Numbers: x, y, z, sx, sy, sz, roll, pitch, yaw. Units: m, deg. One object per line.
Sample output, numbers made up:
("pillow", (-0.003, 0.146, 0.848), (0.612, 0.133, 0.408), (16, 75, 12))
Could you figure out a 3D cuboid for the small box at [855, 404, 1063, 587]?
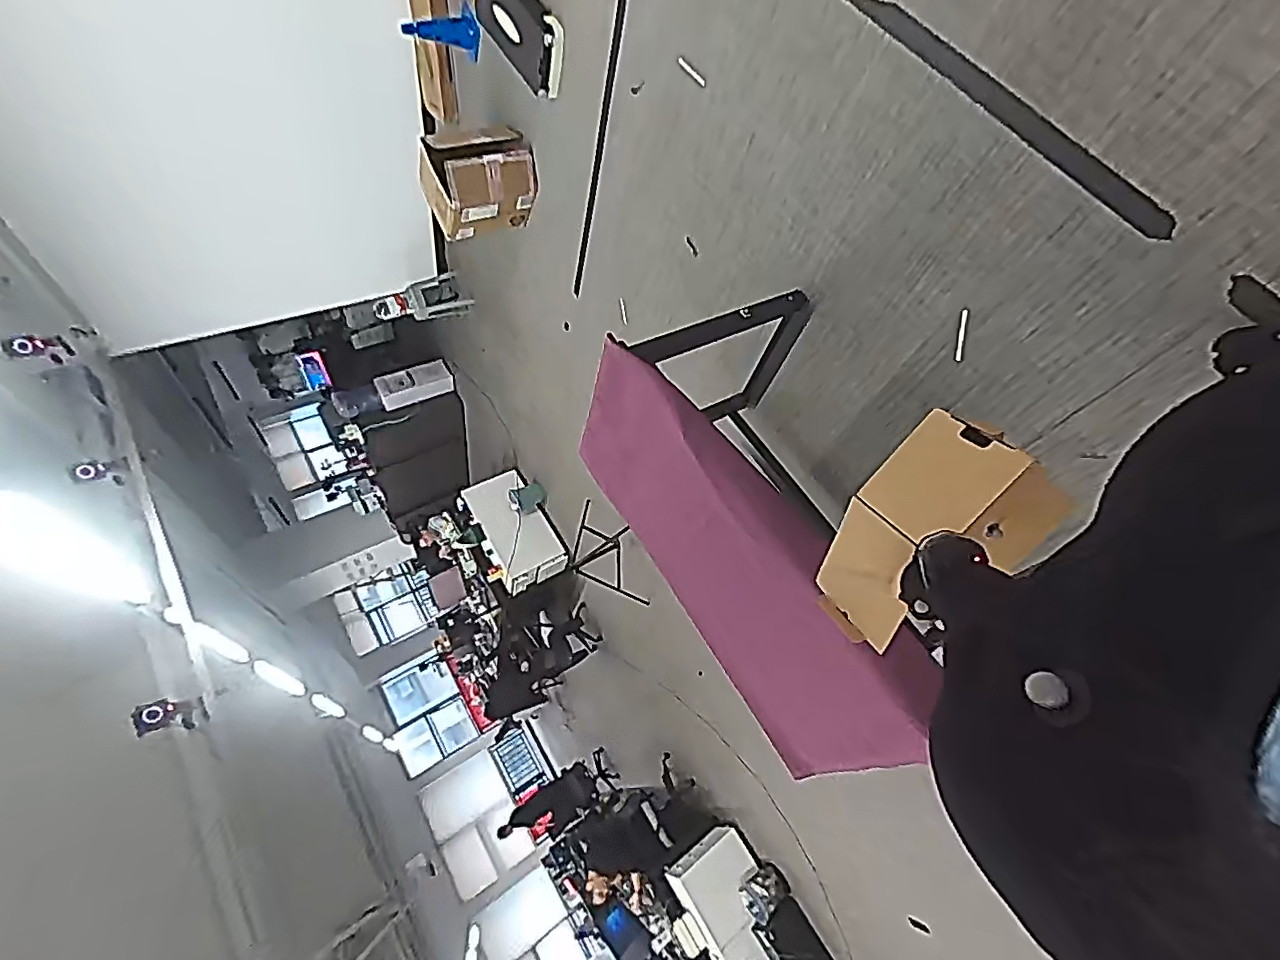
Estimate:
("small box", (0.462, 0.028, 0.785), (0.179, 0.176, 0.168), (-52, 36, 14))
